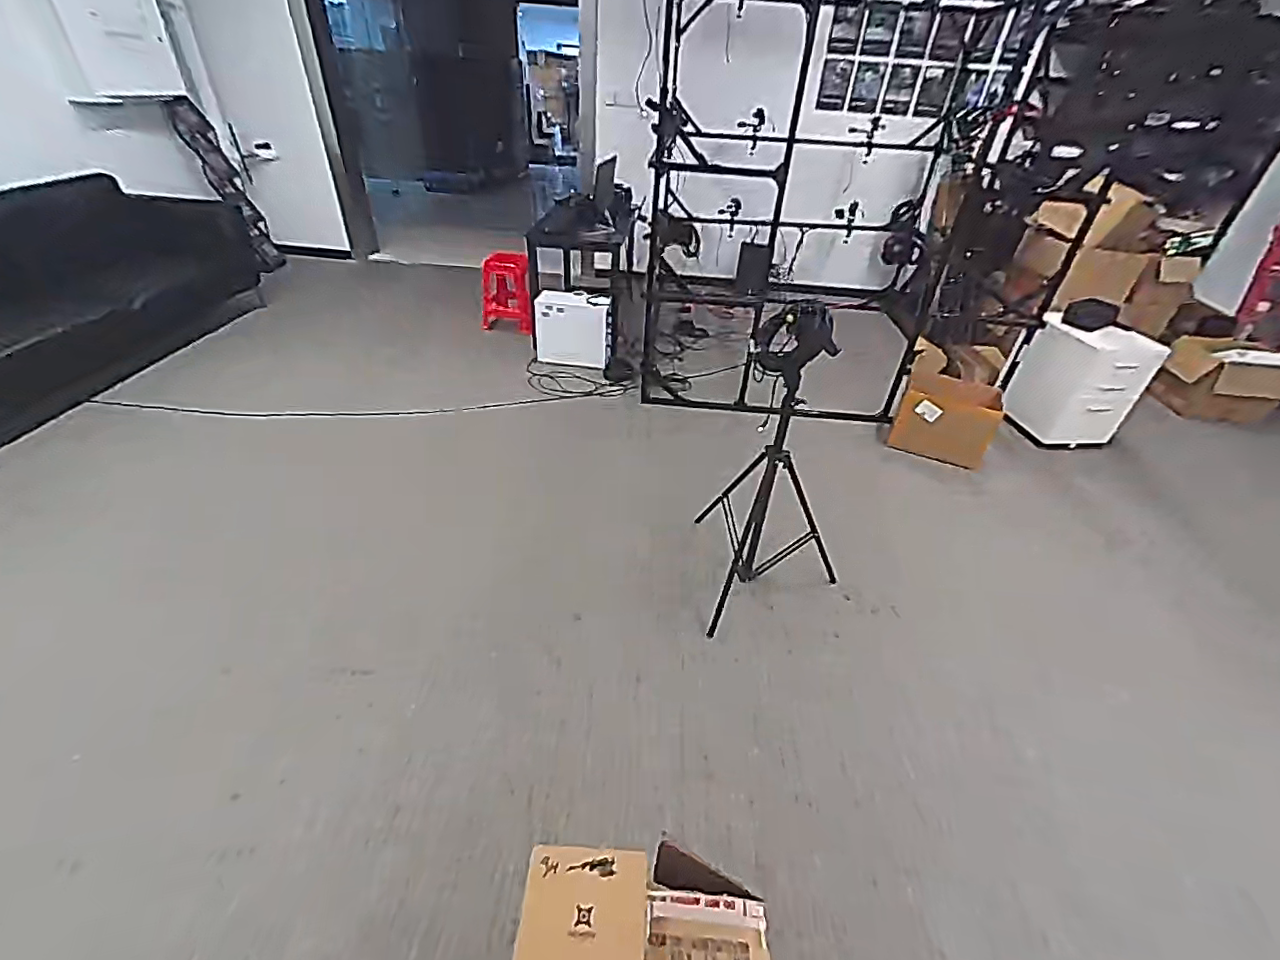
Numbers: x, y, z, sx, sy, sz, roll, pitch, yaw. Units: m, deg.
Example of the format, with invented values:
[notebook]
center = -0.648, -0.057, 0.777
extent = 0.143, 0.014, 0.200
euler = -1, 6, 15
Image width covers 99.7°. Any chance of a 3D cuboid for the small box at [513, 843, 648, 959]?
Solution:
[small box]
center = -0.076, 0.638, 0.754
extent = 0.168, 0.176, 0.179
euler = 3, 40, 1
